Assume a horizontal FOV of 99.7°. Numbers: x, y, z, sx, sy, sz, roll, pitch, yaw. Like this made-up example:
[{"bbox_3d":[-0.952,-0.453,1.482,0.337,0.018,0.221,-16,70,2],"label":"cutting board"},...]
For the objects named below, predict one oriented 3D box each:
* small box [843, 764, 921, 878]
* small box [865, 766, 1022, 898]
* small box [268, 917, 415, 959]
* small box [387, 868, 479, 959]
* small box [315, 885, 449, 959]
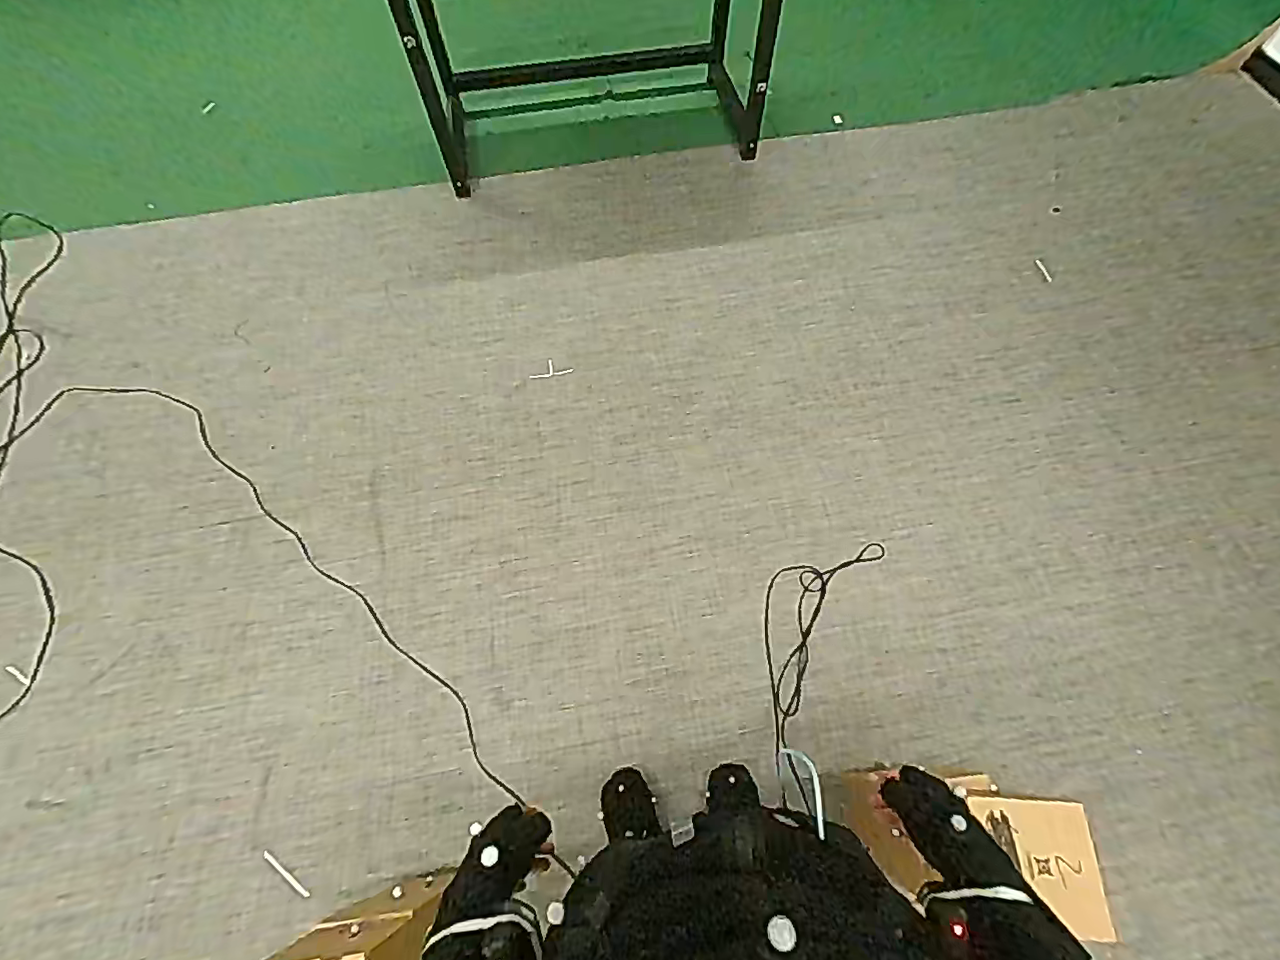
[{"bbox_3d":[0.545,0.700,1.126,0.168,0.176,0.179,-4,65,-1],"label":"small box"},{"bbox_3d":[0.541,0.633,0.995,0.168,0.176,0.179,-6,66,-3],"label":"small box"},{"bbox_3d":[-0.433,0.758,0.762,0.168,0.176,0.179,-8,64,-2],"label":"small box"},{"bbox_3d":[-0.422,0.889,1.062,0.179,0.176,0.168,-8,65,-3],"label":"small box"},{"bbox_3d":[-0.432,0.819,0.913,0.168,0.176,0.179,-7,64,-2],"label":"small box"}]
